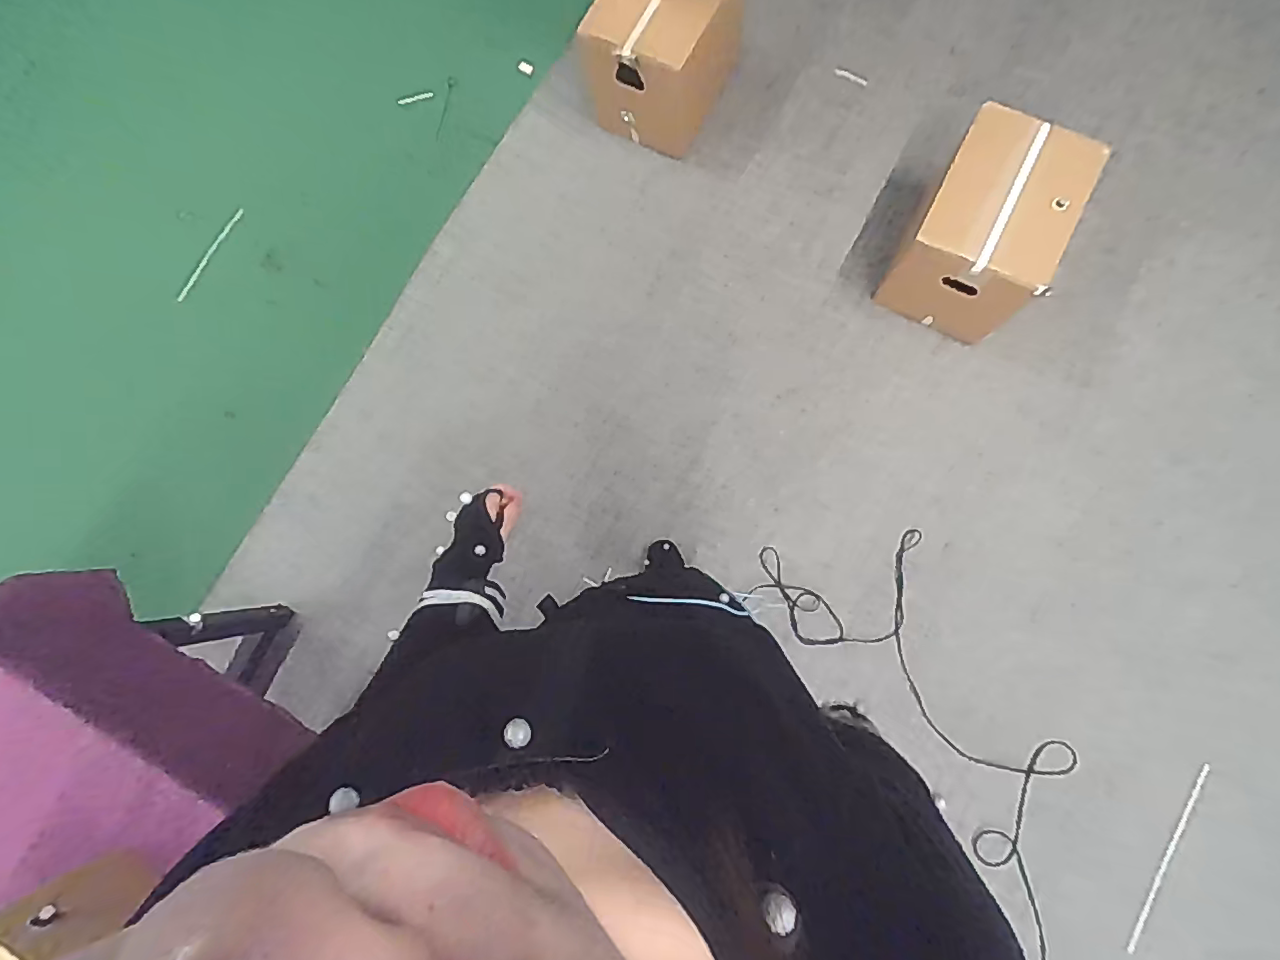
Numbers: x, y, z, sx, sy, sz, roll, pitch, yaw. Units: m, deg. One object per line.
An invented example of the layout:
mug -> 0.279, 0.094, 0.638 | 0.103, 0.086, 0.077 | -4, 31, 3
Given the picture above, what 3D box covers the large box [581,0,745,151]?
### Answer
large box -> 0.079, -1.269, 1.561 | 0.320, 0.320, 0.408 | 28, 84, 8
